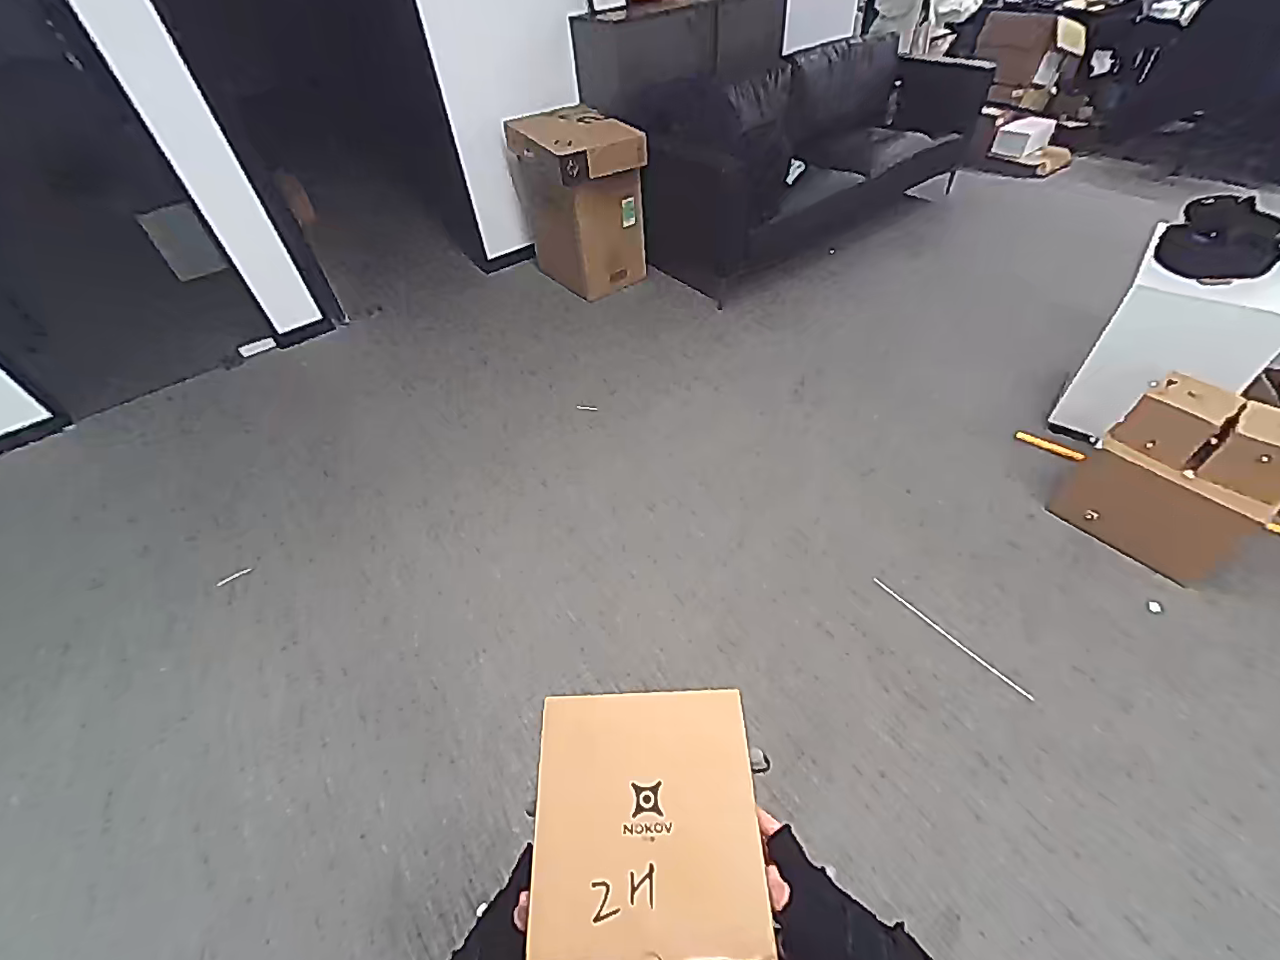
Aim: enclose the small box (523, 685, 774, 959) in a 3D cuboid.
[{"bbox_3d":[0.006,0.290,0.461,0.168,0.176,0.179,-2,52,1],"label":"small box"}]
